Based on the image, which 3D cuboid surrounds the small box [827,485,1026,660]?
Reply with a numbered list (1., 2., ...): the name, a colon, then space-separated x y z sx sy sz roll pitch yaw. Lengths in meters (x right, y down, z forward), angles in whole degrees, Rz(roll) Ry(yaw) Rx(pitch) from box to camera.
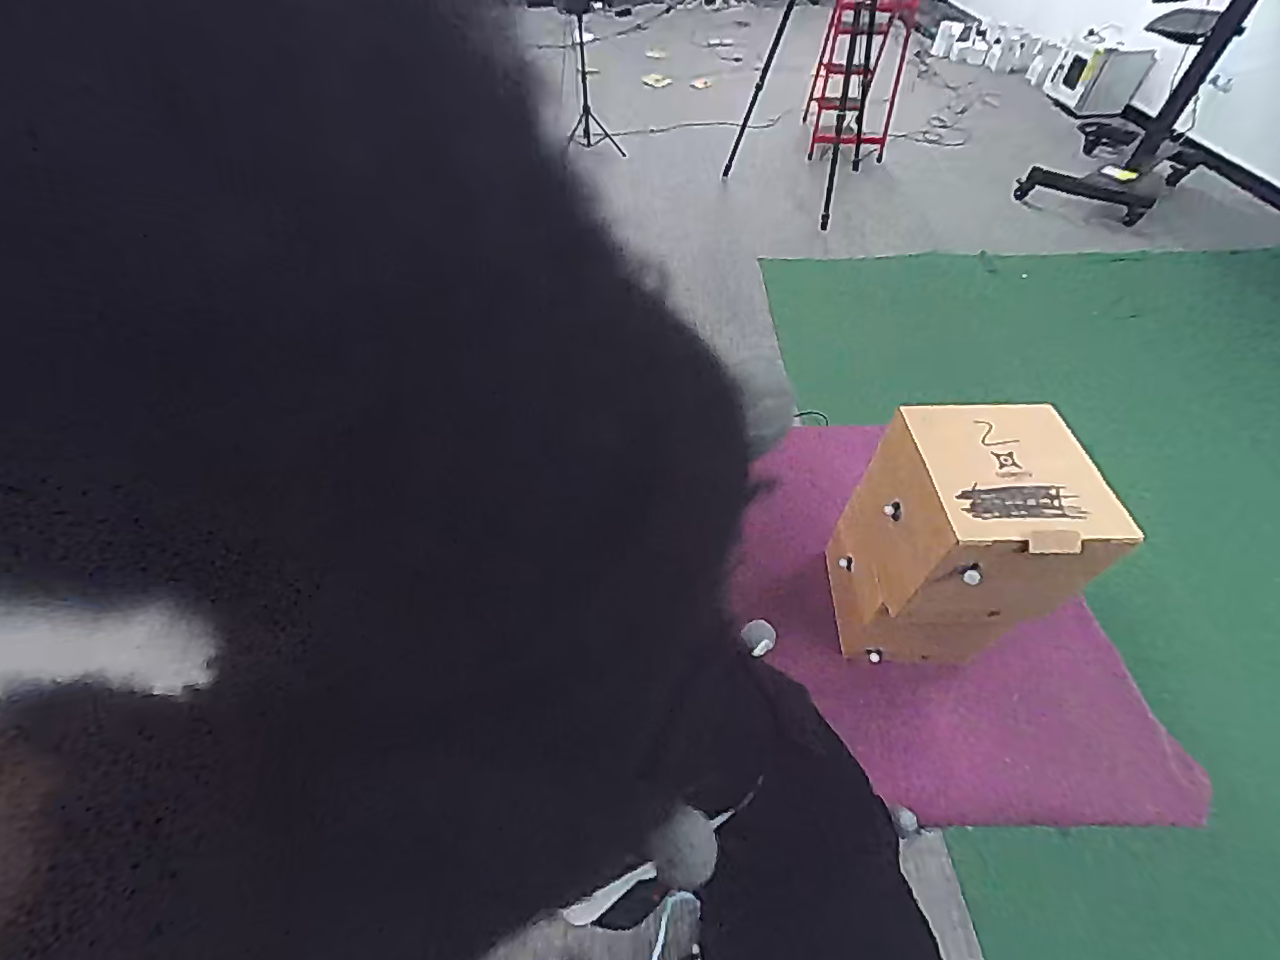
1. small box: 0.364 0.128 0.728 0.168 0.176 0.179 3 51 2
